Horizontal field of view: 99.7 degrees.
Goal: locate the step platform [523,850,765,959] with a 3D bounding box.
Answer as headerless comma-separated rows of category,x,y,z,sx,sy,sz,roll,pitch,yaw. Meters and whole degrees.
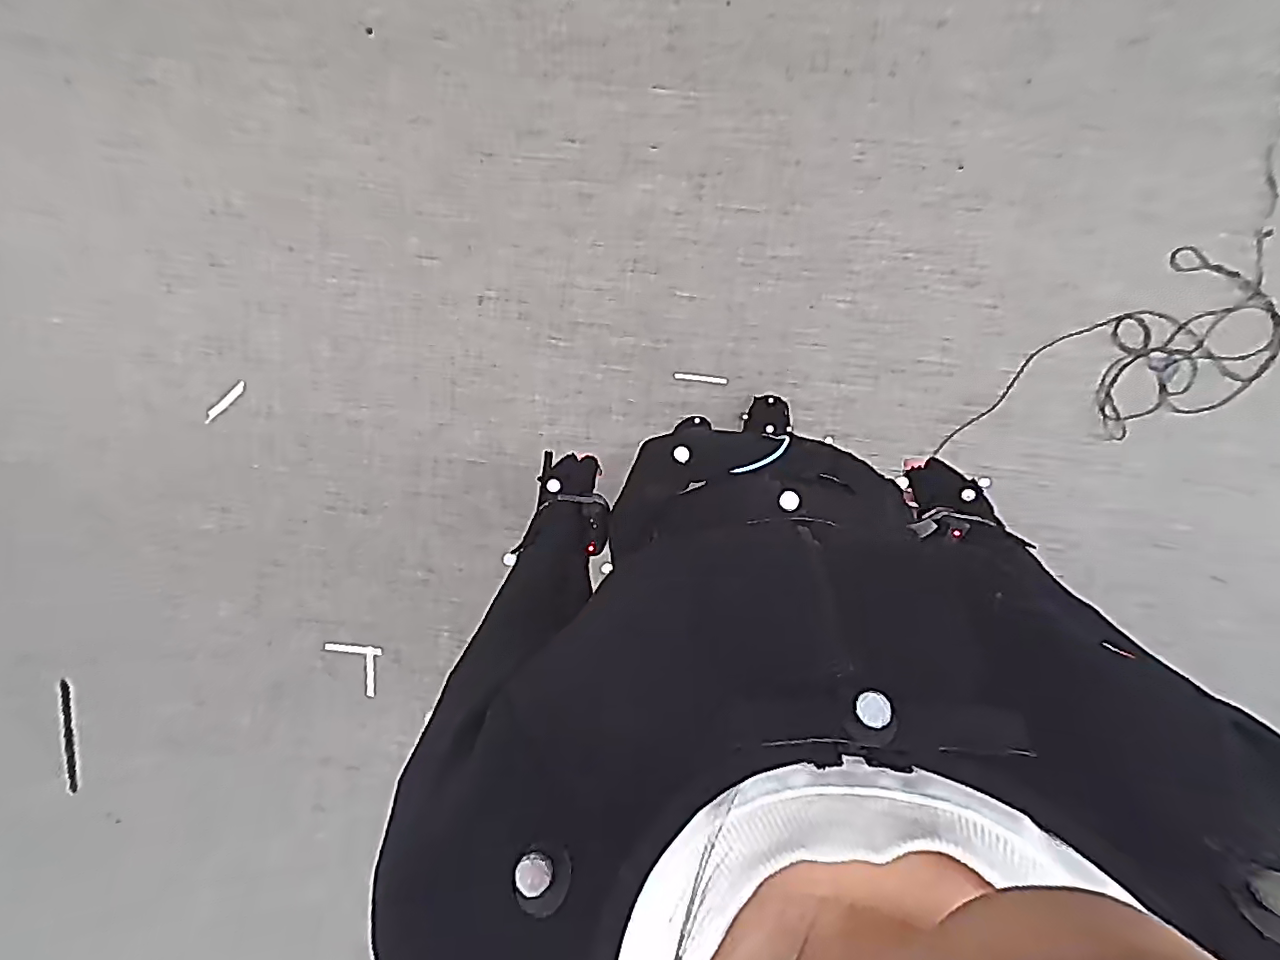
step platform,0.010,1.304,1.556,0.684,0.204,0.286,5,98,5
